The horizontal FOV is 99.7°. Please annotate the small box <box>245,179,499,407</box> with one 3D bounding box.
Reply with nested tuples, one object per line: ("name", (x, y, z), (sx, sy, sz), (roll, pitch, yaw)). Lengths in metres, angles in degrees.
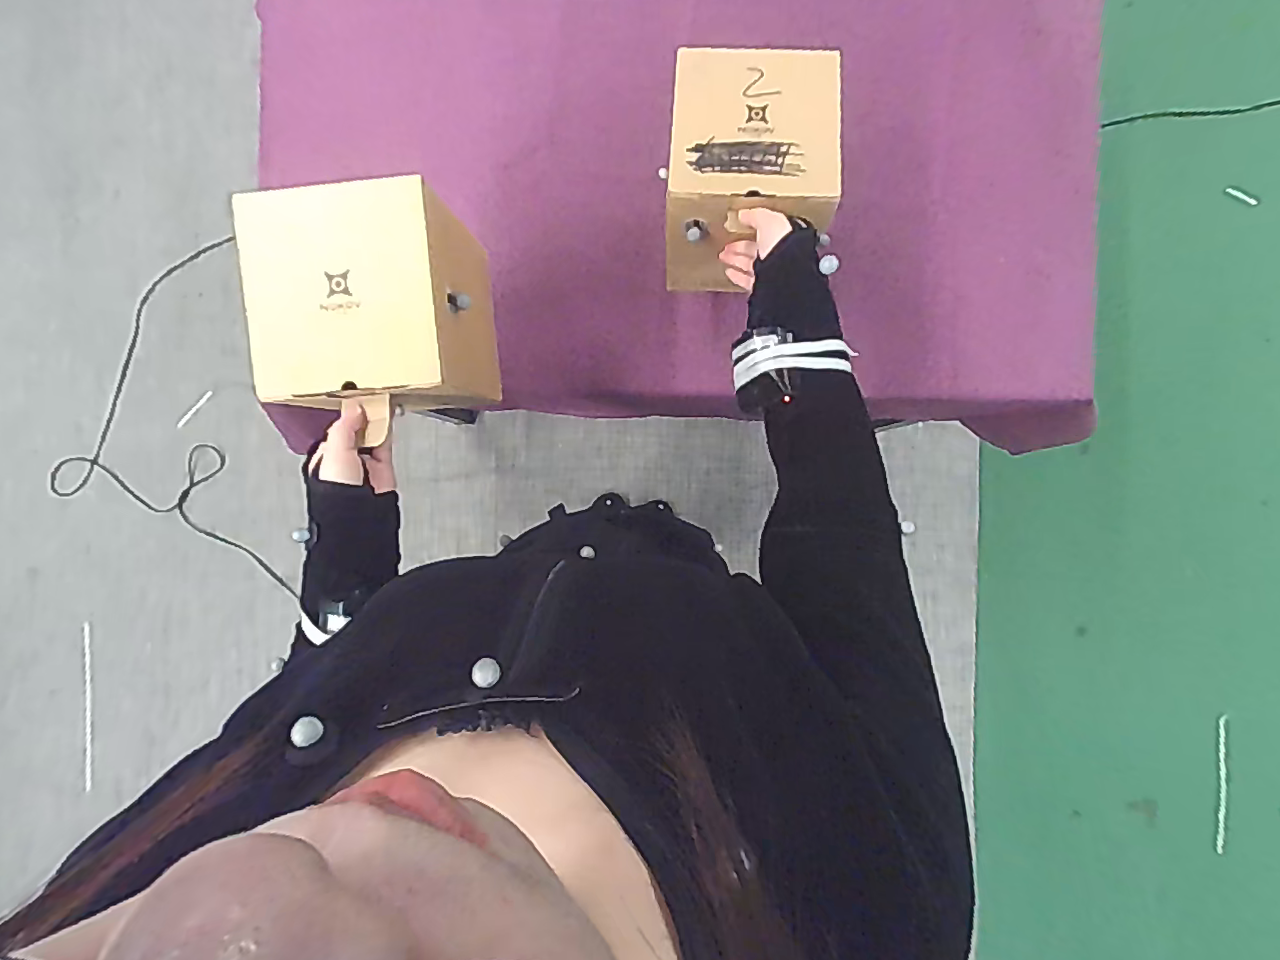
("small box", (-0.253, -0.172, 0.551), (0.168, 0.176, 0.179), (-4, 94, 3))
